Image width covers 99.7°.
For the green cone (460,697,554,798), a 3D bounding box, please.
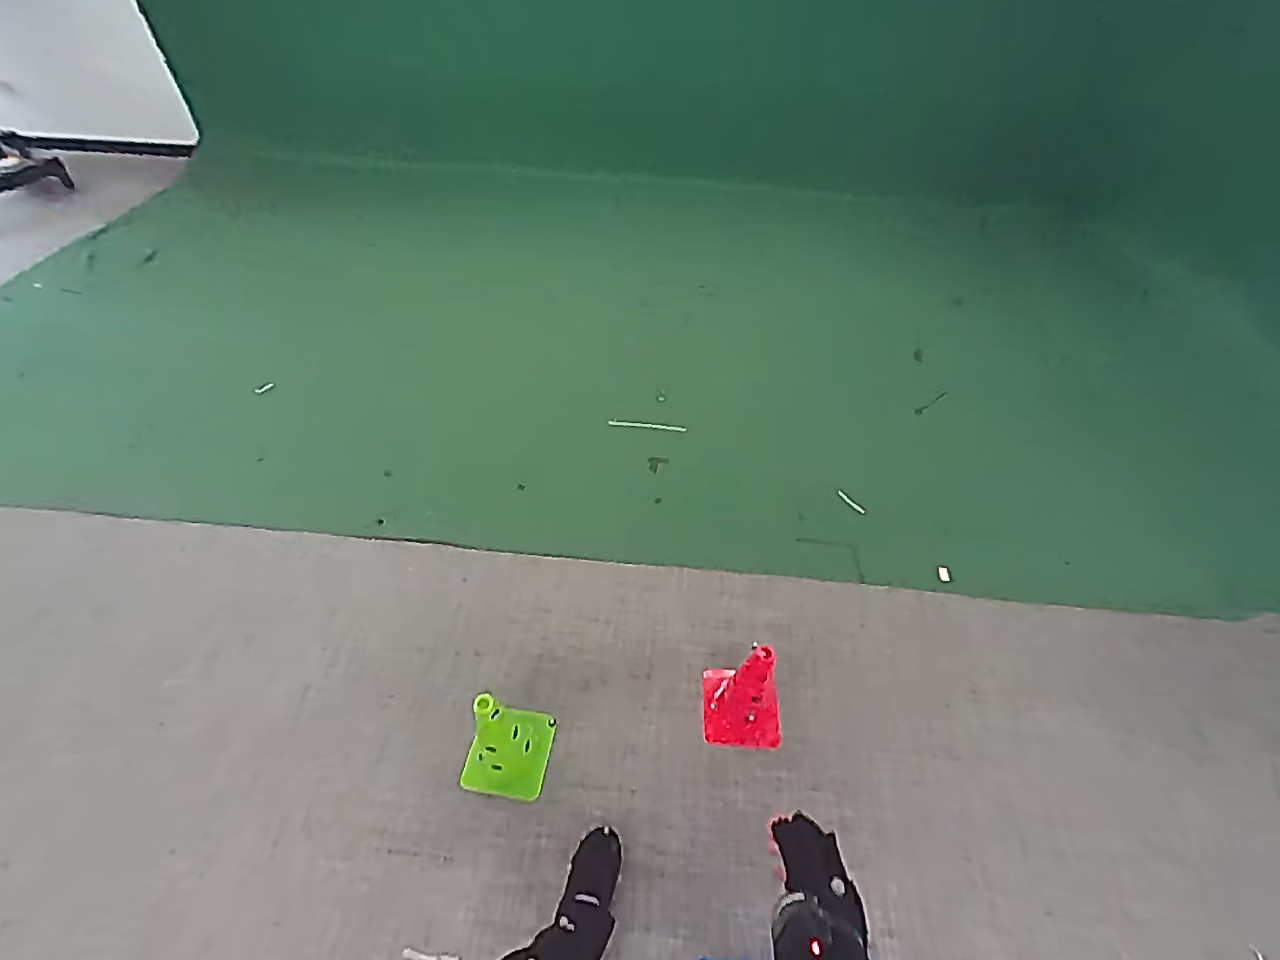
[{"bbox_3d":[-0.329,0.571,1.236,0.200,0.368,0.202,6,50,4],"label":"green cone"}]
